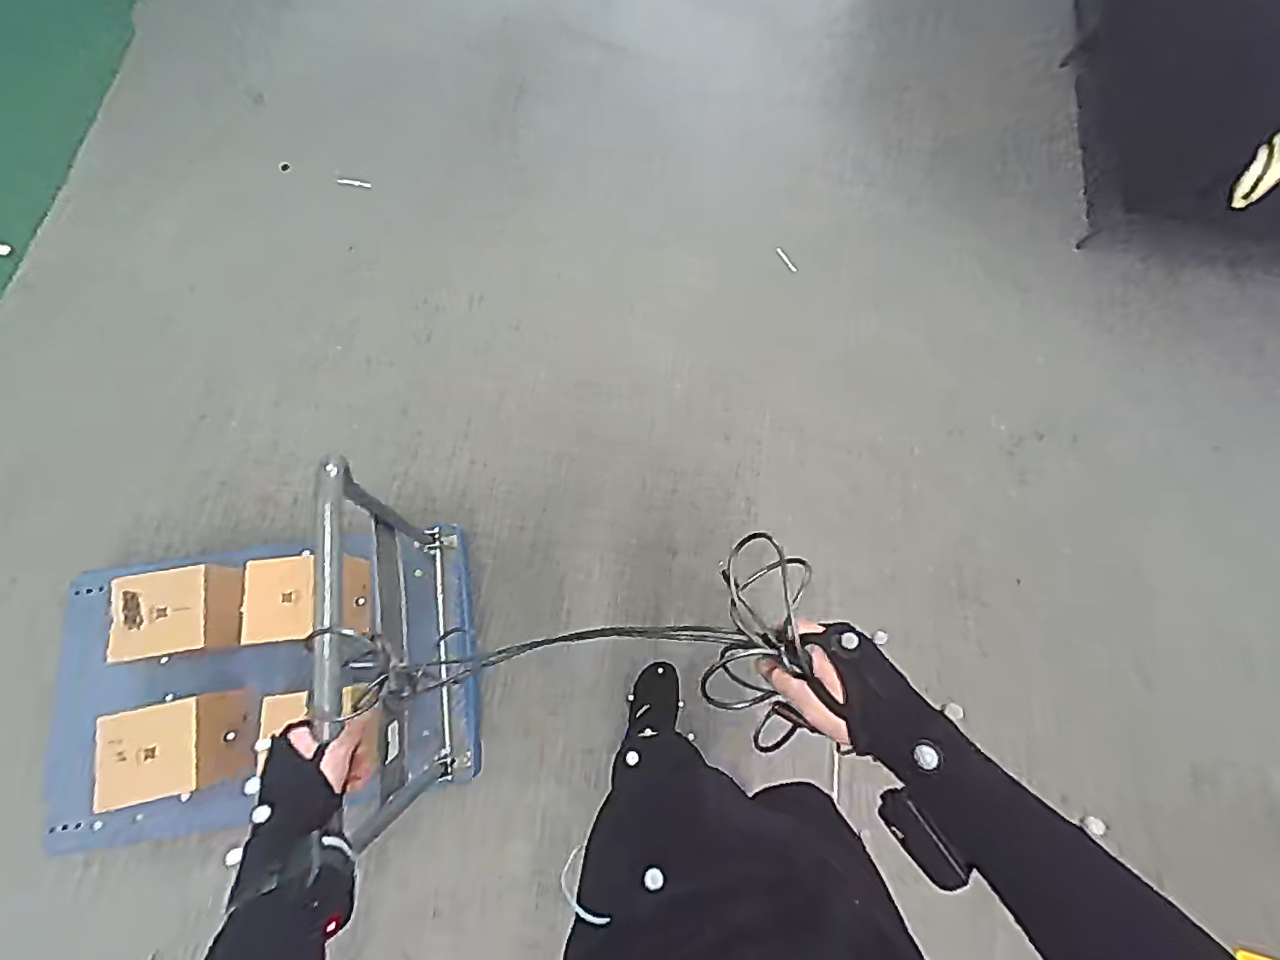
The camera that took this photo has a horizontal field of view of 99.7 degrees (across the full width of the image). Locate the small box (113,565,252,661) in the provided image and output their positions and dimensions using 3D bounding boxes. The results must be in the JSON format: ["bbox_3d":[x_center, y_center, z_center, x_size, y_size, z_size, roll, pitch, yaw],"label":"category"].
[{"bbox_3d":[-0.948,0.282,1.145,0.179,0.176,0.168,-9,76,-6],"label":"small box"}]

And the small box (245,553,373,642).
[{"bbox_3d":[-0.704,0.257,1.167,0.179,0.176,0.168,-5,75,-5],"label":"small box"}]

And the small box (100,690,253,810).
[{"bbox_3d":[-0.911,0.527,1.081,0.179,0.176,0.168,-10,75,-6],"label":"small box"}]
